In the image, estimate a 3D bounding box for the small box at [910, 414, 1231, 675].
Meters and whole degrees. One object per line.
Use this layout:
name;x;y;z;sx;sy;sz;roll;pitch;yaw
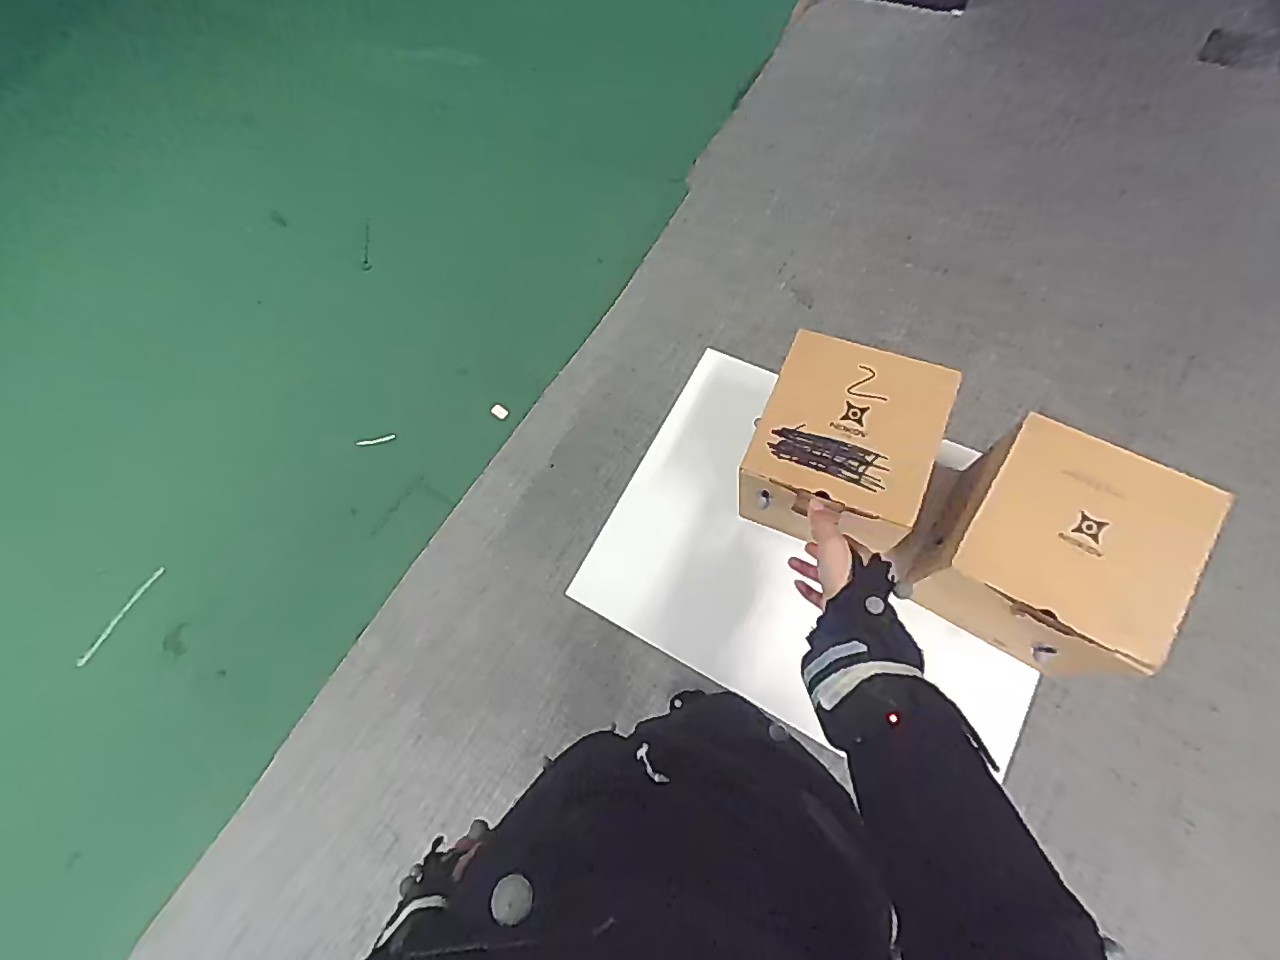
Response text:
small box;0.396;0.073;0.536;0.168;0.176;0.179;30;77;17
